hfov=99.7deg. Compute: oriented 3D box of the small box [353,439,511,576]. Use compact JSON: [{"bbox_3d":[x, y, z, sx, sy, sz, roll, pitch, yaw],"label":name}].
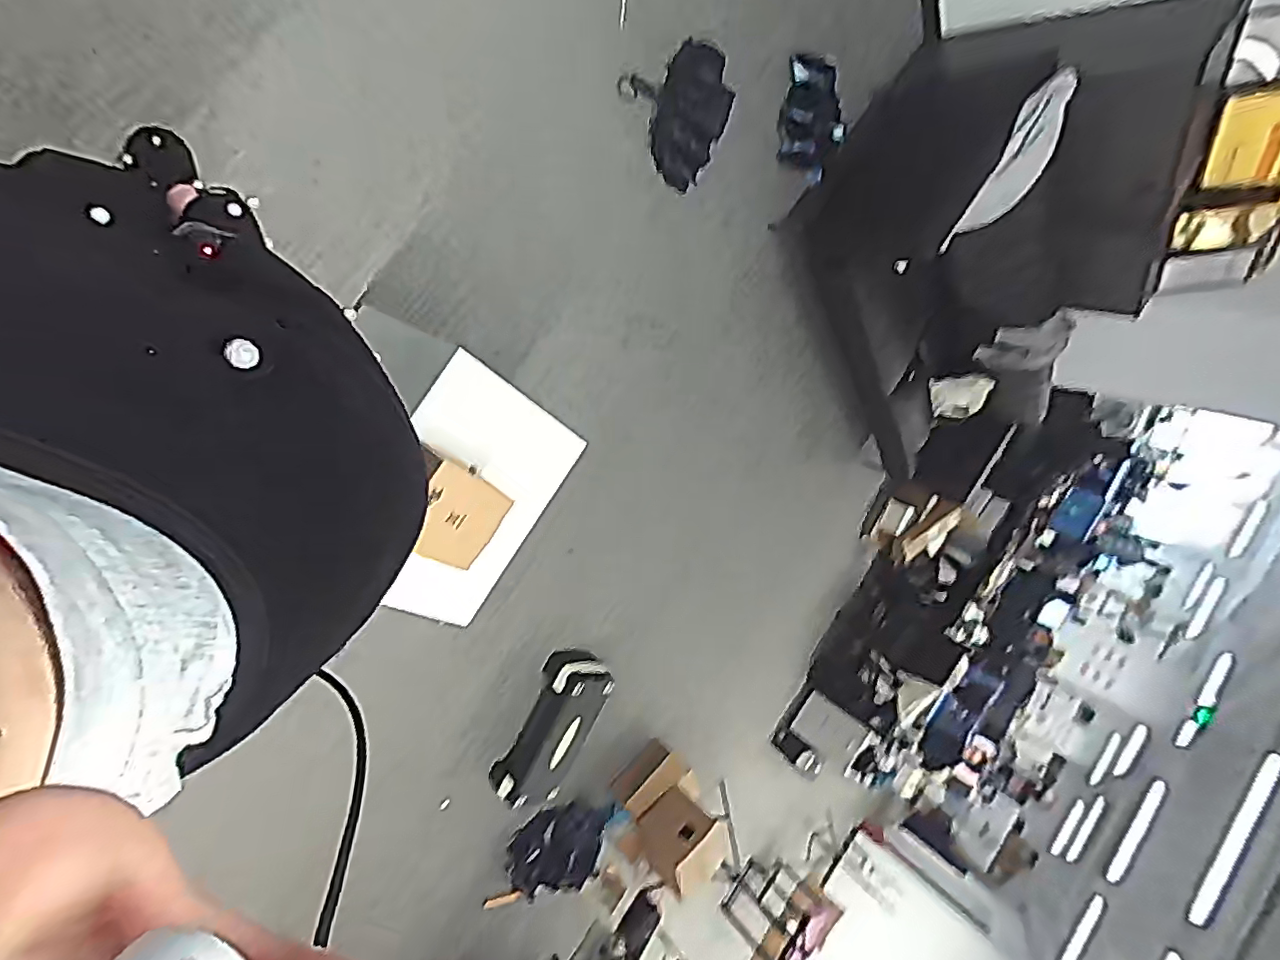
[{"bbox_3d":[-0.380,0.047,0.989,0.168,0.176,0.179,-57,140,-5],"label":"small box"}]
